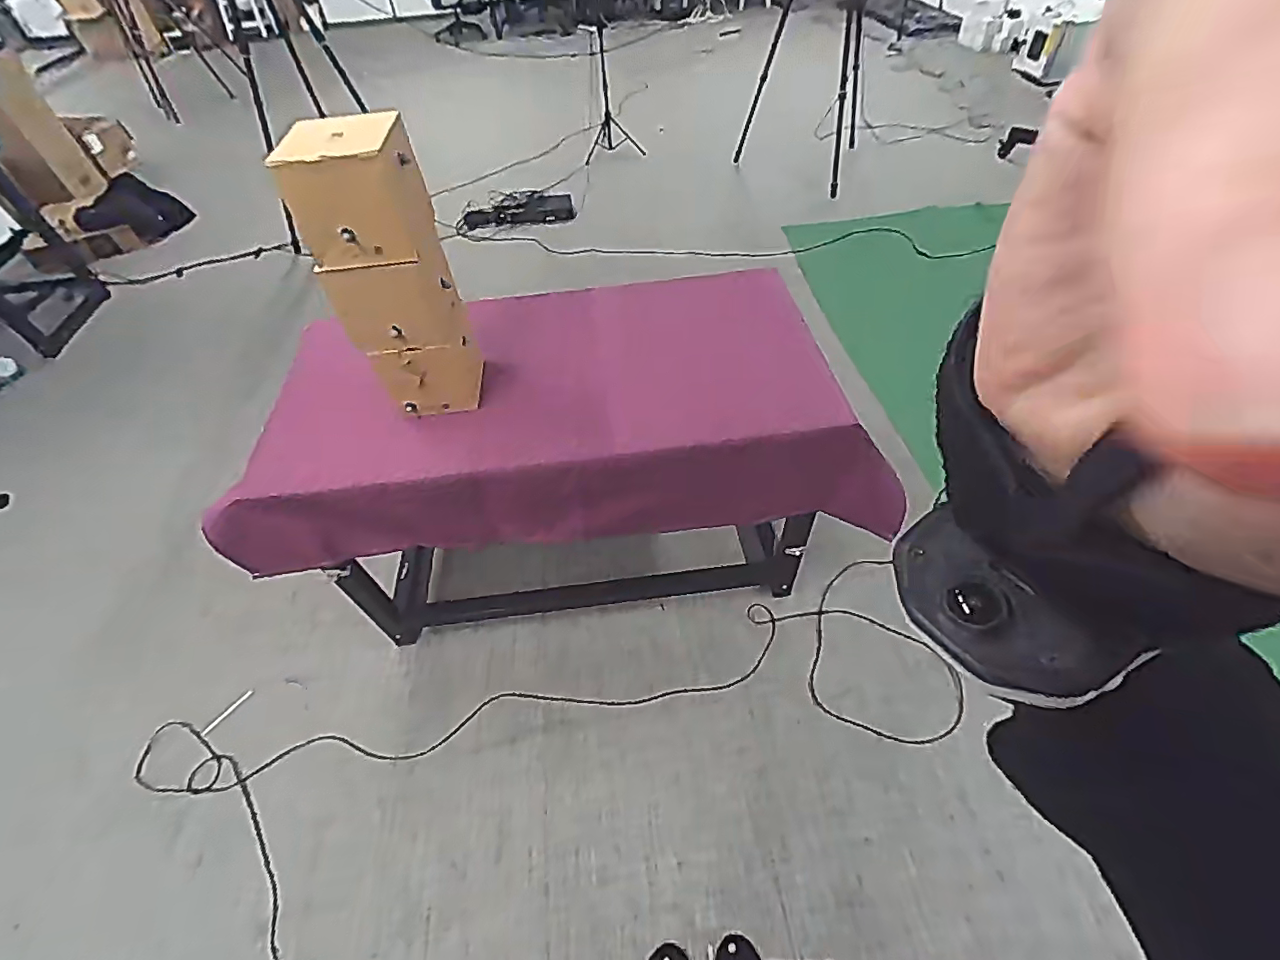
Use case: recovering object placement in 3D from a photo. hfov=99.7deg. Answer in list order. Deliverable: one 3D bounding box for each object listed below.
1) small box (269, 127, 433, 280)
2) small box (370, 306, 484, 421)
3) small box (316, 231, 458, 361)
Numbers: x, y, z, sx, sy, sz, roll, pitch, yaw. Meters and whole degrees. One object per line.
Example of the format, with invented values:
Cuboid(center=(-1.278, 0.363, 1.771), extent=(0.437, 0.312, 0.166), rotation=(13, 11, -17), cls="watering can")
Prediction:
Cuboid(center=(-0.457, -0.454, 0.892), extent=(0.168, 0.176, 0.179), rotation=(-7, 50, -1), cls="small box")
Cuboid(center=(-0.435, -0.239, 1.139), extent=(0.168, 0.176, 0.179), rotation=(-7, 49, -2), cls="small box")
Cuboid(center=(-0.456, -0.343, 1.012), extent=(0.179, 0.176, 0.168), rotation=(-6, 49, -1), cls="small box")
